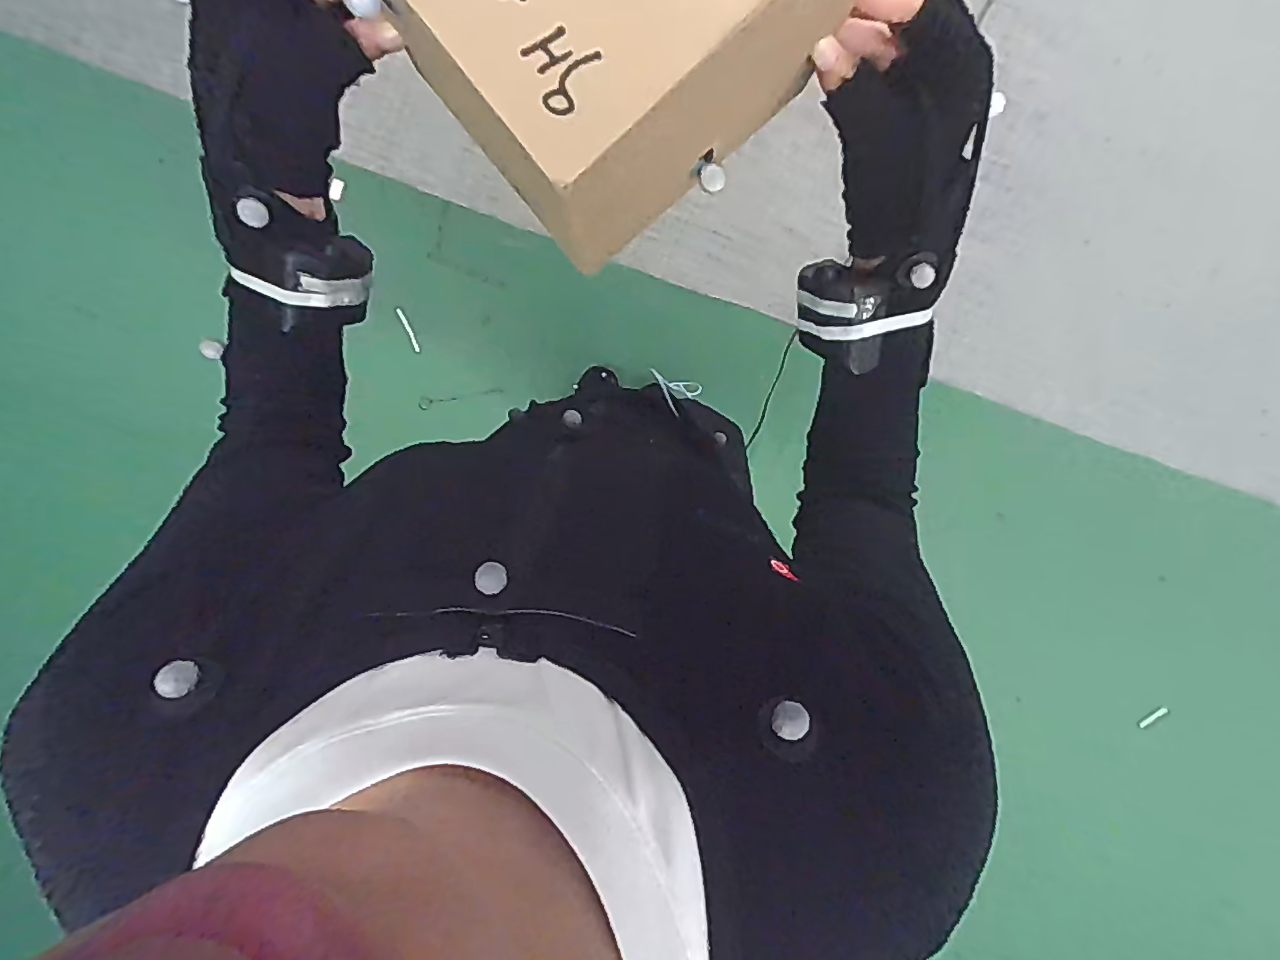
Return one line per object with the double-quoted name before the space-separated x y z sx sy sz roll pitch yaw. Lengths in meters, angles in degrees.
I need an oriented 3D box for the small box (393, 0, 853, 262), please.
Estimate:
"small box" -0.013 -0.237 0.255 0.179 0.176 0.168 -39 99 5
